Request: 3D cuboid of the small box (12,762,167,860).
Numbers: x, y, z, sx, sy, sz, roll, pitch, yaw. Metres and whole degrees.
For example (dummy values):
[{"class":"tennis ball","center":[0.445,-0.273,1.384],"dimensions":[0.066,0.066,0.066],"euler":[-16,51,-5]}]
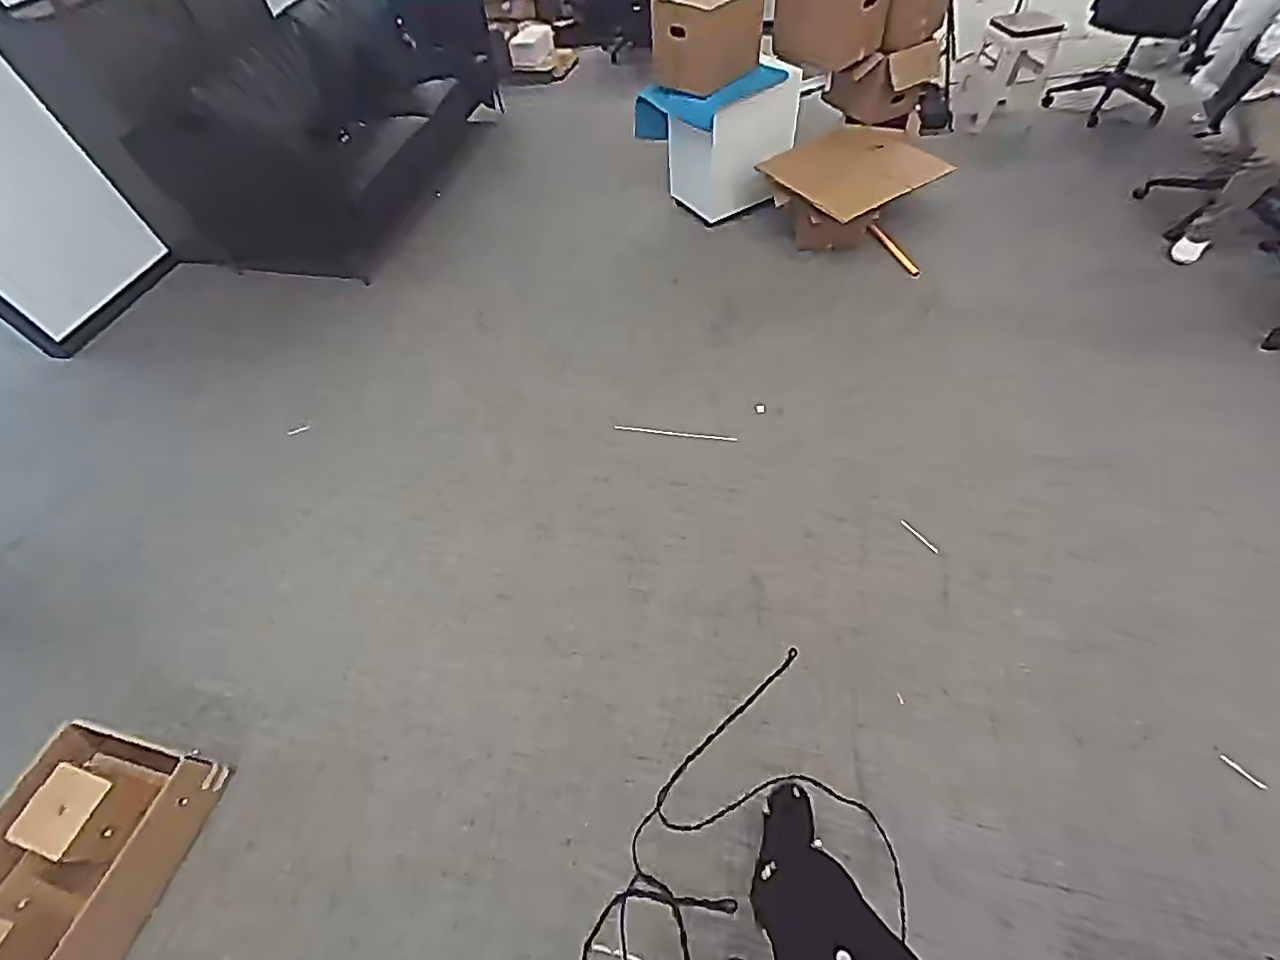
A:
[{"class":"small box","center":[-1.363,0.829,1.355],"dimensions":[0.179,0.176,0.168],"euler":[10,56,13]}]
